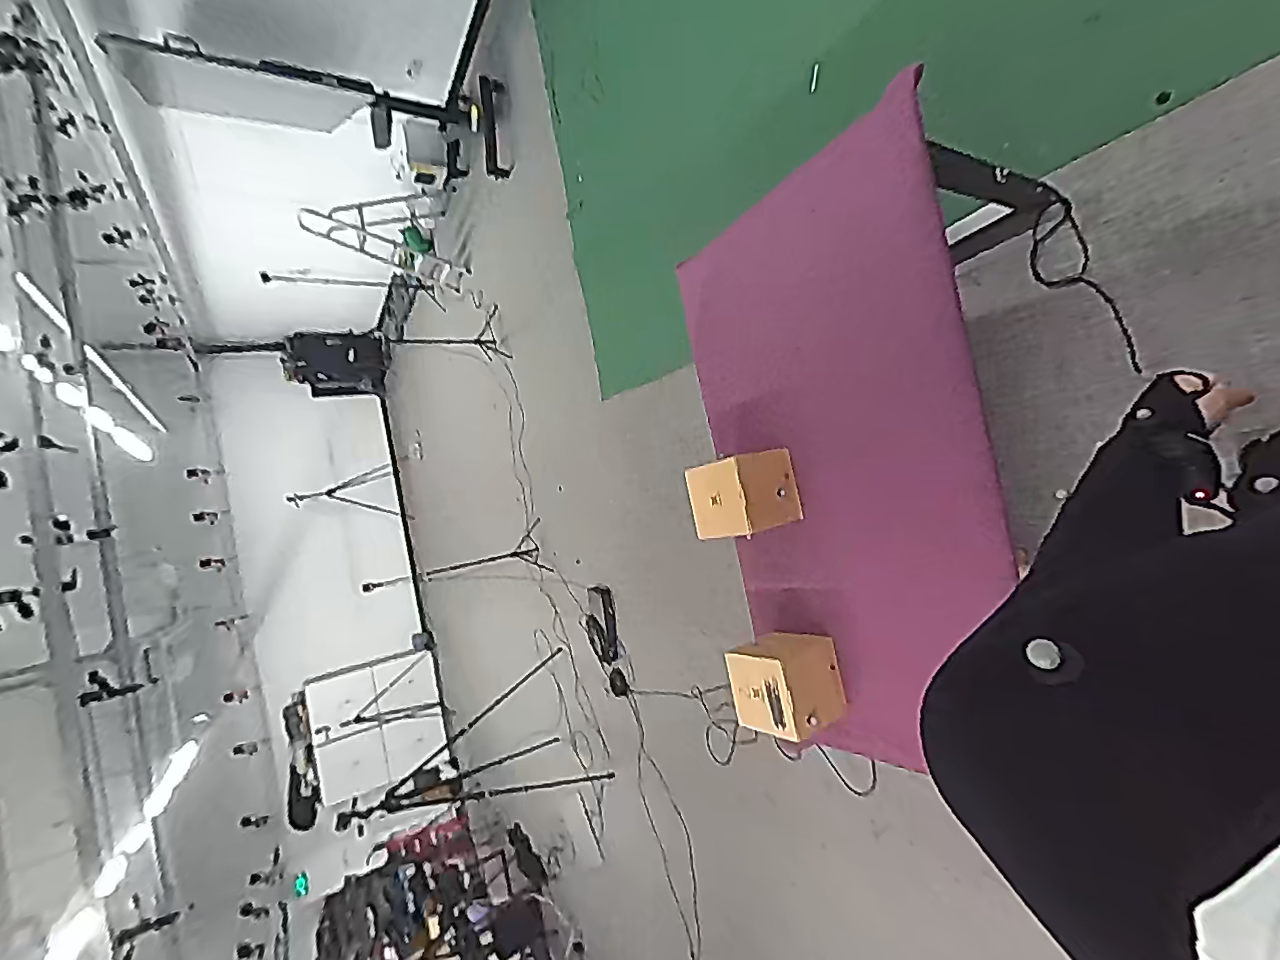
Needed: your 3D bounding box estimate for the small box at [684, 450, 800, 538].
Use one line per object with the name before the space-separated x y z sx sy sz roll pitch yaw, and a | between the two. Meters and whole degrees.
small box | 0.229 0.033 1.224 0.179 0.176 0.168 -18 84 55
